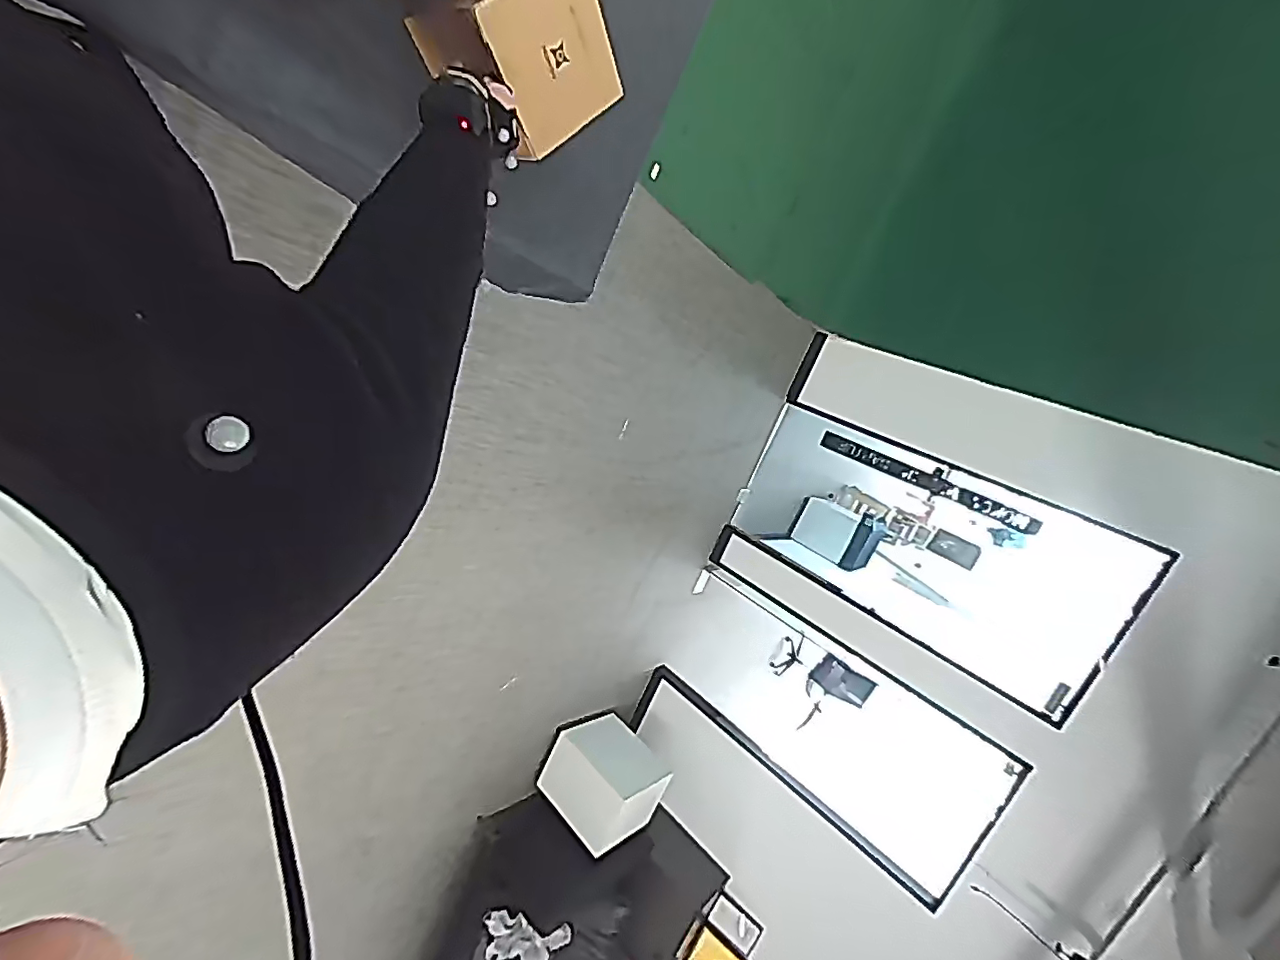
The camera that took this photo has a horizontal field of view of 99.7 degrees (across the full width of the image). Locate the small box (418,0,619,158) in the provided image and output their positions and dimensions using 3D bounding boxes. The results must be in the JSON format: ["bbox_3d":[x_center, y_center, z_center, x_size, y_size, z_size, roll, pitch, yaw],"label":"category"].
[{"bbox_3d":[-0.163,-0.559,0.715,0.179,0.176,0.168,-48,145,-16],"label":"small box"}]
